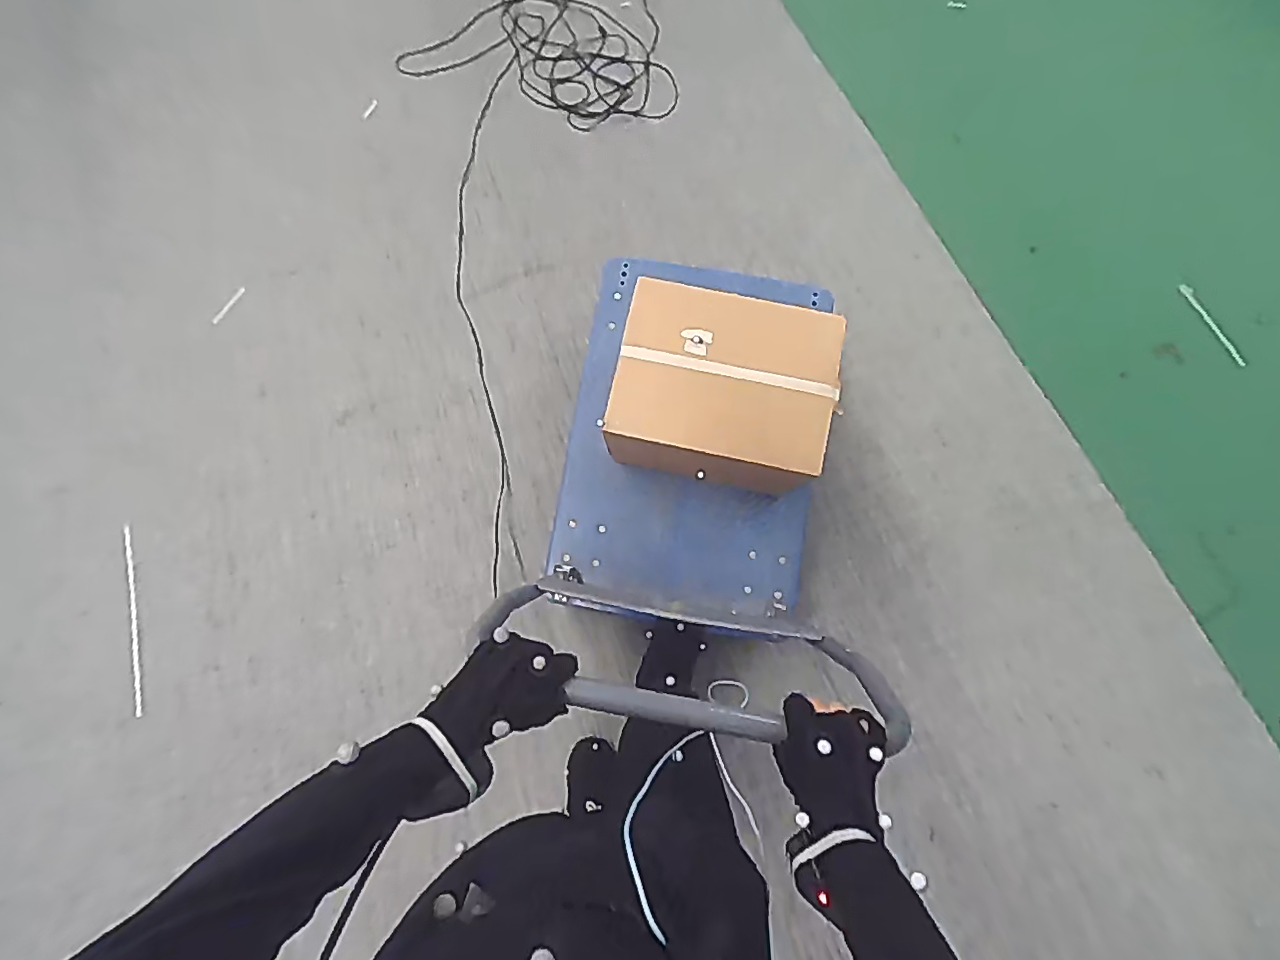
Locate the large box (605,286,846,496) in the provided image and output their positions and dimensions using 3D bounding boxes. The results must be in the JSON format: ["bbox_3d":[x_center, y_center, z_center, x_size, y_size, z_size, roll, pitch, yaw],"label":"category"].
[{"bbox_3d":[0.168,-0.165,1.145,0.408,0.320,0.320,13,82,4],"label":"large box"}]
